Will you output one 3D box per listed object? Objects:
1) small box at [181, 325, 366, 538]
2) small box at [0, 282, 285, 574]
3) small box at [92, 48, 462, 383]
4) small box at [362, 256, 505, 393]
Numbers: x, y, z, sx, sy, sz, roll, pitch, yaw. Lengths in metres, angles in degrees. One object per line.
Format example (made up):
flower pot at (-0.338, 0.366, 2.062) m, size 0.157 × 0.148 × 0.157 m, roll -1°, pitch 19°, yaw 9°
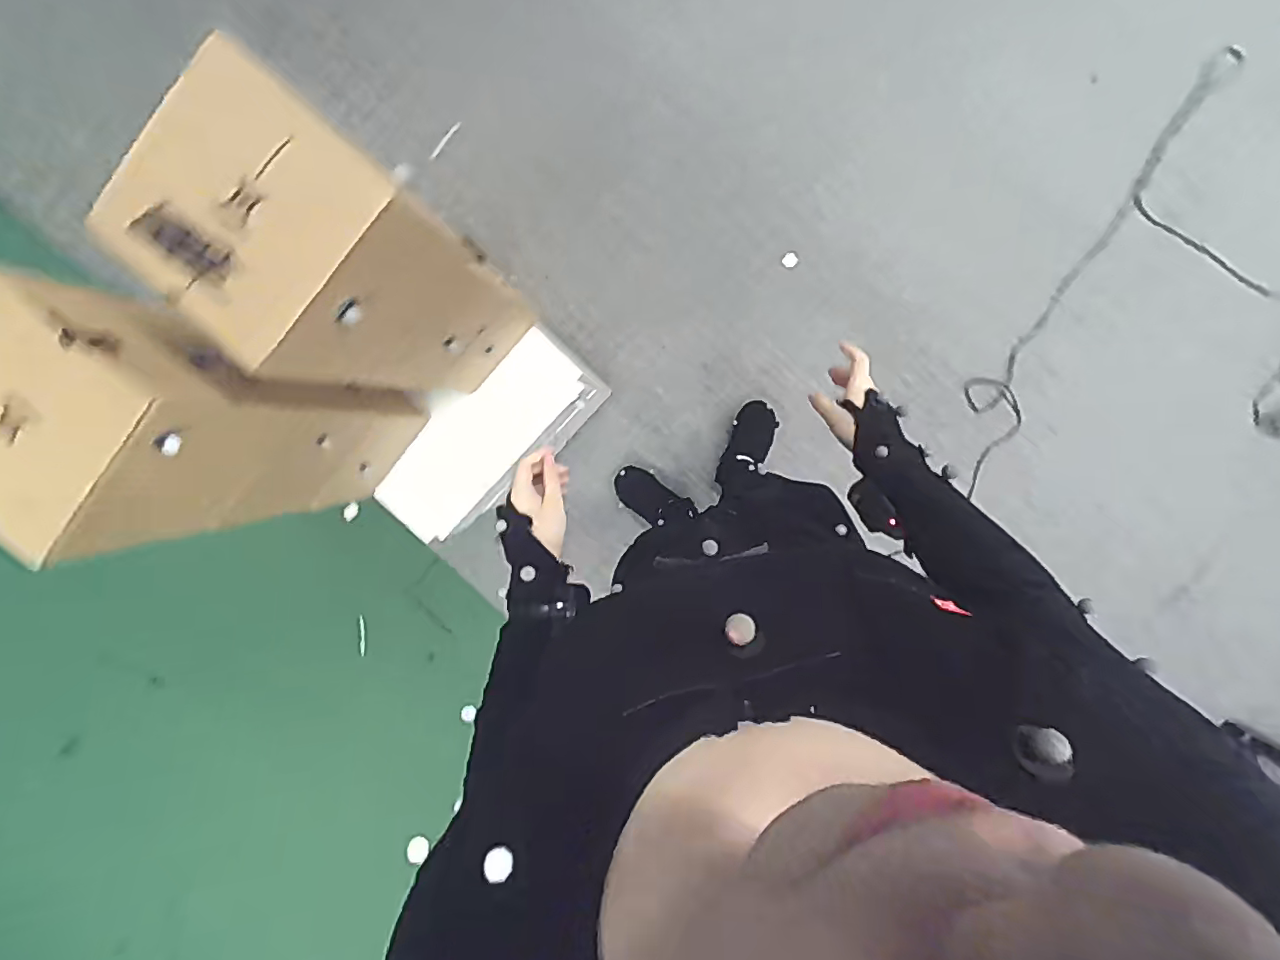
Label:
small box at (-0.478, -0.059, 0.668) m, size 0.168 × 0.176 × 0.179 m, roll 37°, pitch 96°, yaw -1°
small box at (-0.487, -0.045, 0.506) m, size 0.168 × 0.176 × 0.179 m, roll 38°, pitch 95°, yaw -2°
small box at (-0.291, -0.201, 0.476) m, size 0.168 × 0.176 × 0.179 m, roll 42°, pitch 97°, yaw -3°
small box at (-0.290, -0.220, 0.640) m, size 0.179 × 0.176 × 0.168 m, roll 43°, pitch 97°, yaw -3°
